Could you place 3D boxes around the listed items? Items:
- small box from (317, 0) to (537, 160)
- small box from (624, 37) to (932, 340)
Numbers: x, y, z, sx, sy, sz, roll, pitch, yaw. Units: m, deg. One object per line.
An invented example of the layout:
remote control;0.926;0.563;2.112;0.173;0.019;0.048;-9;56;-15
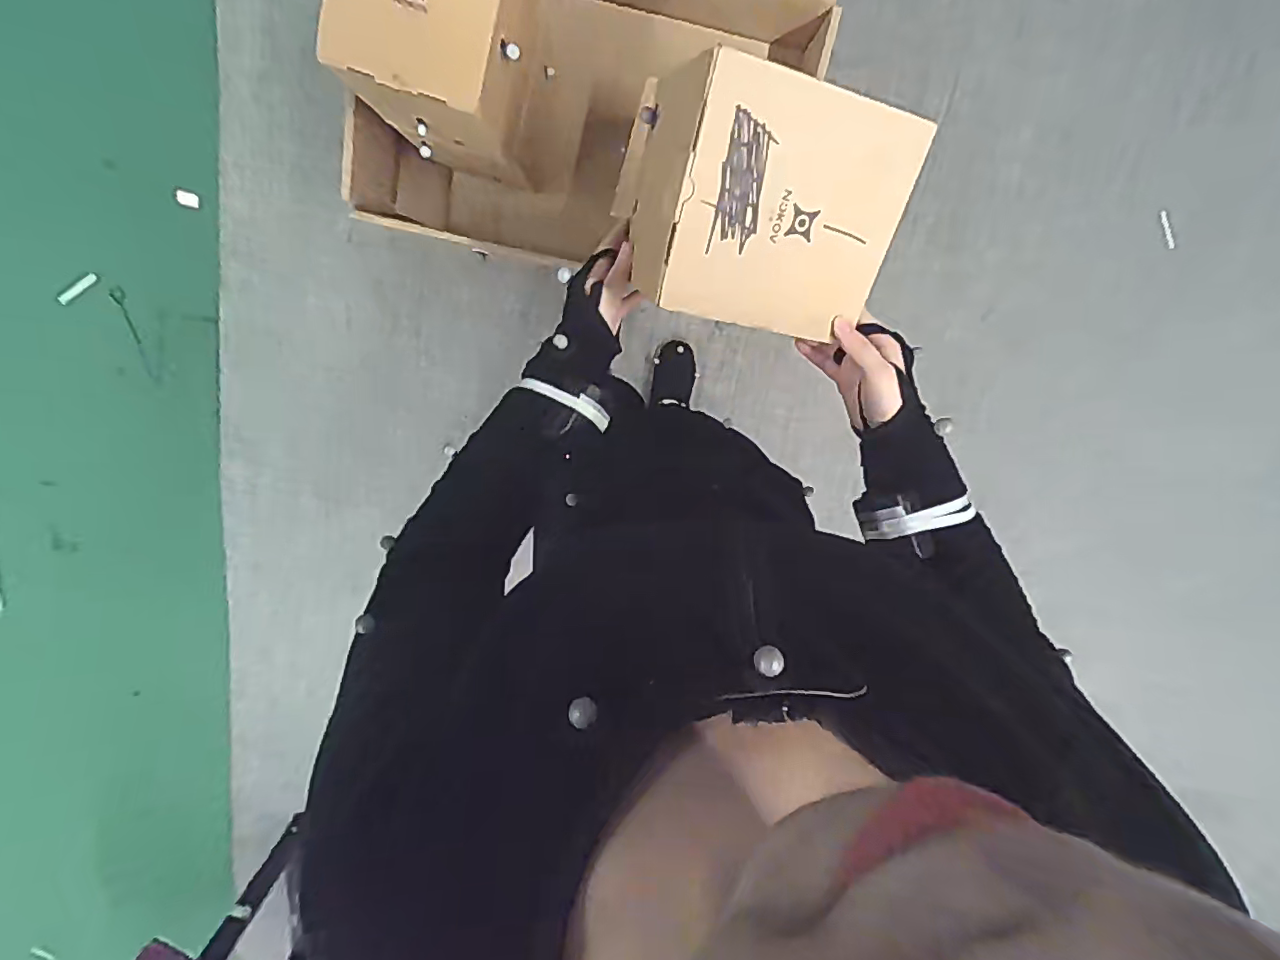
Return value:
small box;-0.221;-0.498;0.604;0.168;0.176;0.179;17;105;-5
small box;0.094;-0.237;0.466;0.179;0.176;0.168;7;118;-17
